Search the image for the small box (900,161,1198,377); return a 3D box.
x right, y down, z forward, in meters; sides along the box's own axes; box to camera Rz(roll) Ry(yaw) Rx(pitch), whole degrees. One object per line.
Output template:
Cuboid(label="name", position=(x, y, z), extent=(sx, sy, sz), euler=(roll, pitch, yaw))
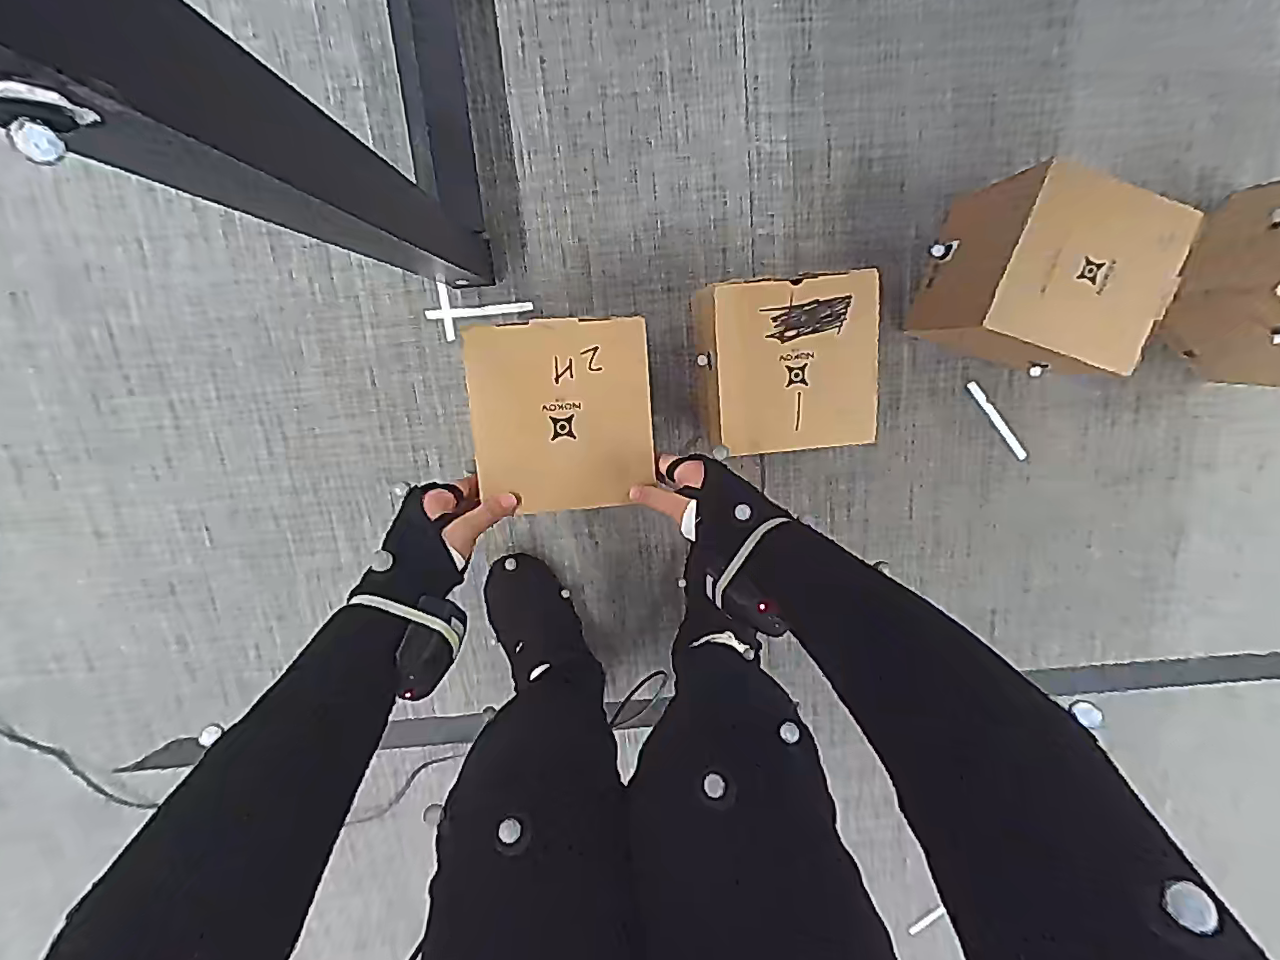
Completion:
Cuboid(label="small box", position=(0.441, -0.225, 0.617), extent=(0.179, 0.176, 0.168), euler=(16, 102, -5))

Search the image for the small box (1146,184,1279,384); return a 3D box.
Cuboid(label="small box", position=(0.745, -0.228, 0.624), extent=(0.168, 0.176, 0.179), euler=(38, 100, -10))

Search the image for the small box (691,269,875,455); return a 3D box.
Cuboid(label="small box", position=(0.154, -0.136, 0.628), extent=(0.168, 0.176, 0.179), euler=(-6, 105, 0))
